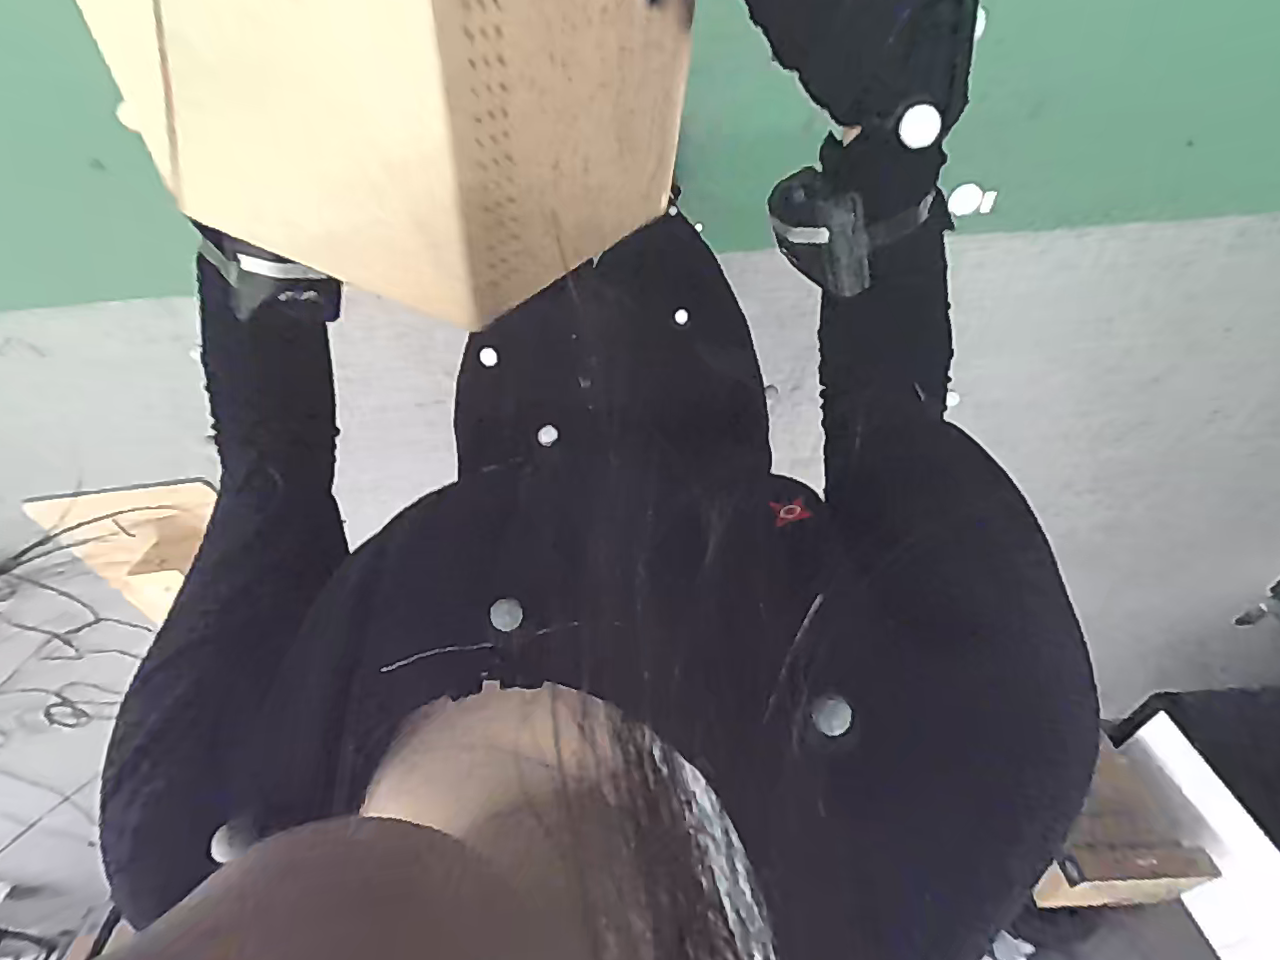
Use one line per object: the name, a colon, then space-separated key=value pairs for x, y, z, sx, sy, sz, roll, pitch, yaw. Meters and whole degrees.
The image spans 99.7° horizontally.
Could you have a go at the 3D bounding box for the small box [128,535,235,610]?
small box: x=-1.500 y=0.302 z=1.783 sx=0.179 sy=0.176 sz=0.168 roll=-9 pitch=130 yaw=2
